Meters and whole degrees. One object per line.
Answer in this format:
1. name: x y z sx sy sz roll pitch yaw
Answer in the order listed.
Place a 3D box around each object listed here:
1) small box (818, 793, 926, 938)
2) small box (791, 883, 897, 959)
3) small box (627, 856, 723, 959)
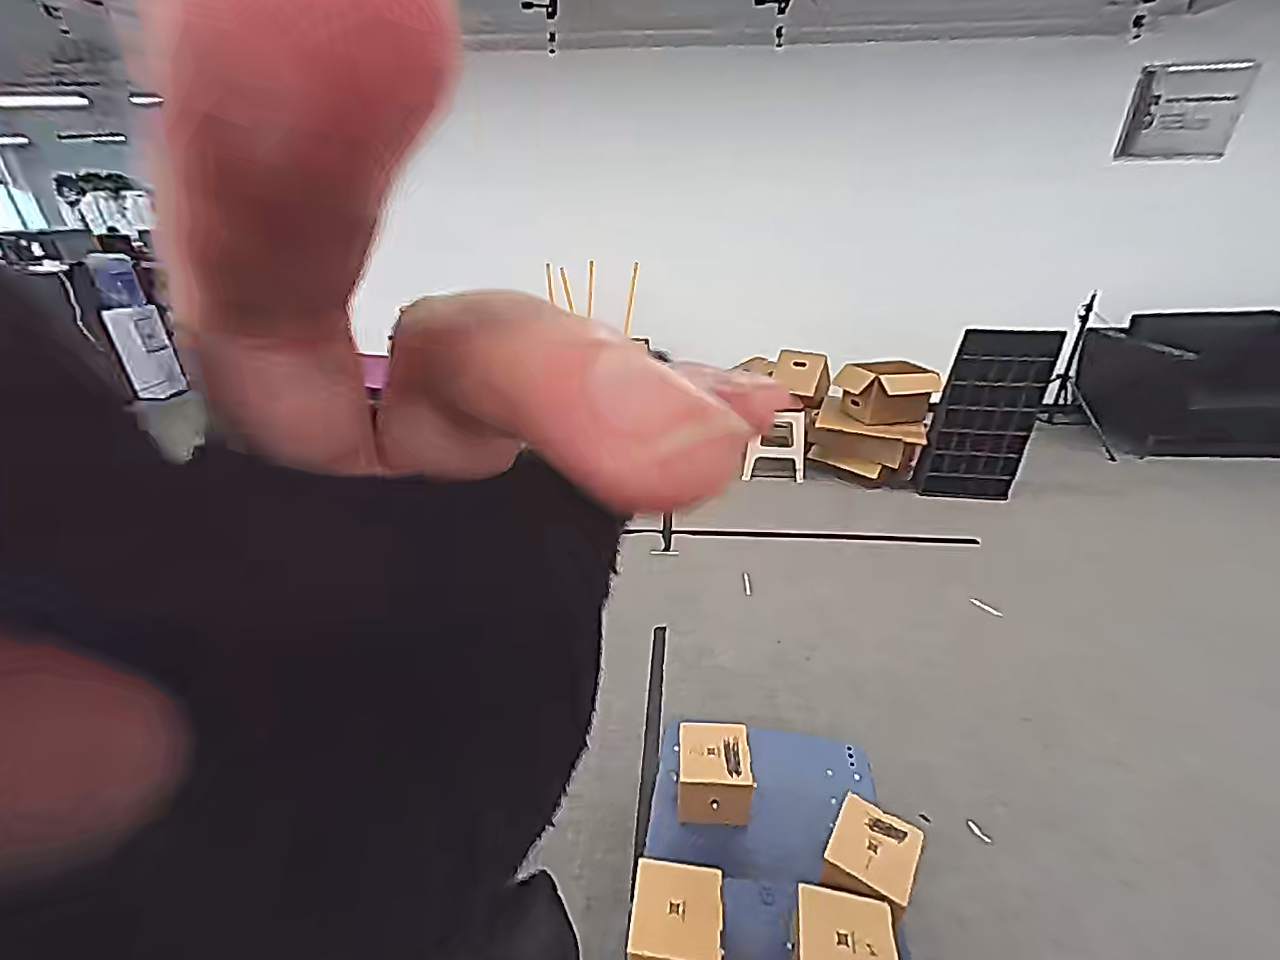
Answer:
1. small box: 0.503 0.847 1.185 0.168 0.176 0.179 18 33 32
2. small box: 0.385 0.927 1.036 0.179 0.176 0.168 6 29 13
3. small box: 0.073 0.905 1.091 0.179 0.176 0.168 4 28 7
